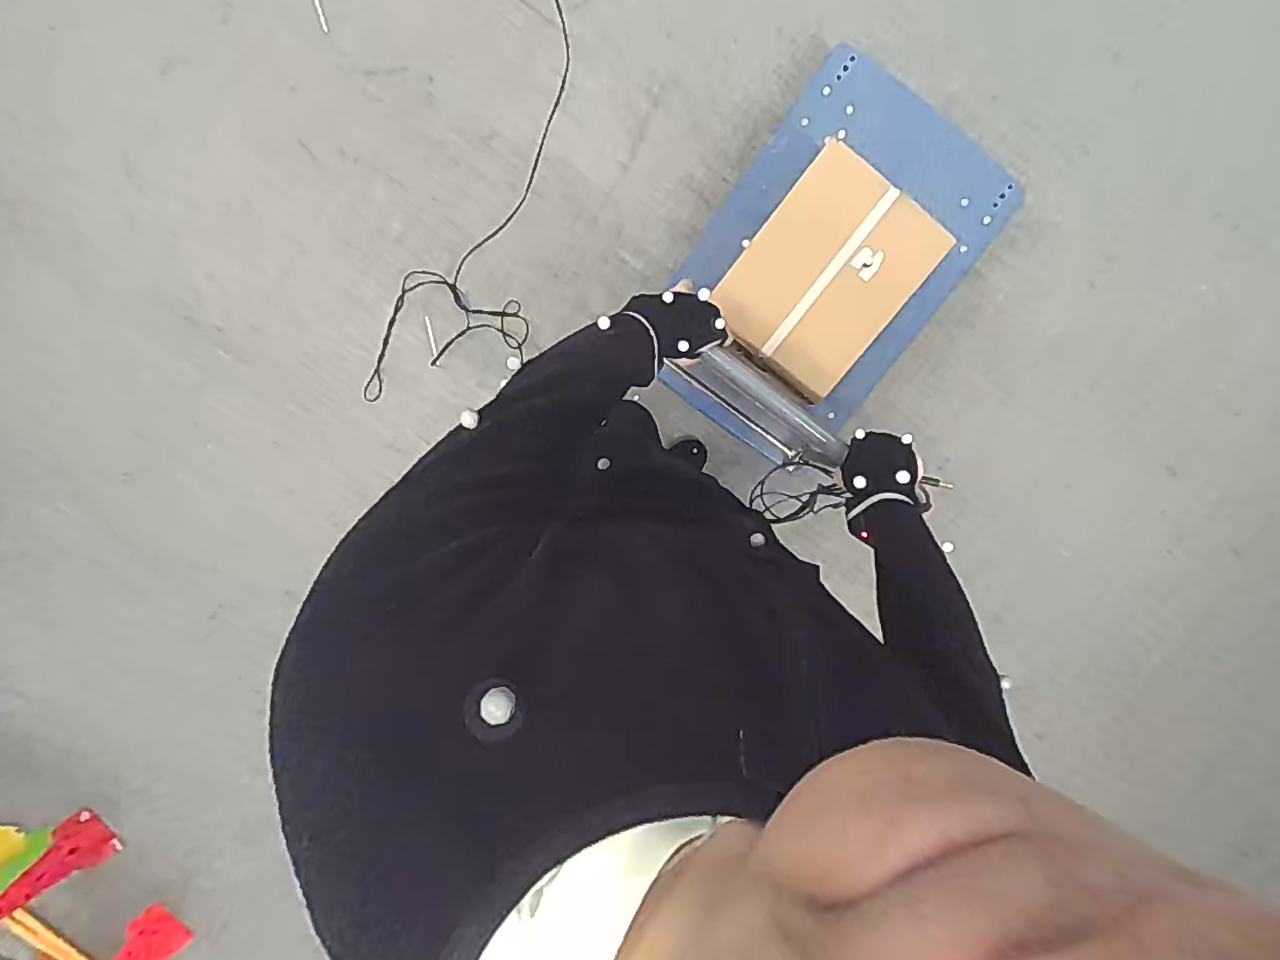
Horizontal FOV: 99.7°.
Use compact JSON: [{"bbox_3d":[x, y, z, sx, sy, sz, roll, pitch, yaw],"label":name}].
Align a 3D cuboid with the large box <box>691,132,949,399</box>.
[{"bbox_3d":[0.356,-0.428,1.192,0.320,0.320,0.408,38,98,-5],"label":"large box"}]
